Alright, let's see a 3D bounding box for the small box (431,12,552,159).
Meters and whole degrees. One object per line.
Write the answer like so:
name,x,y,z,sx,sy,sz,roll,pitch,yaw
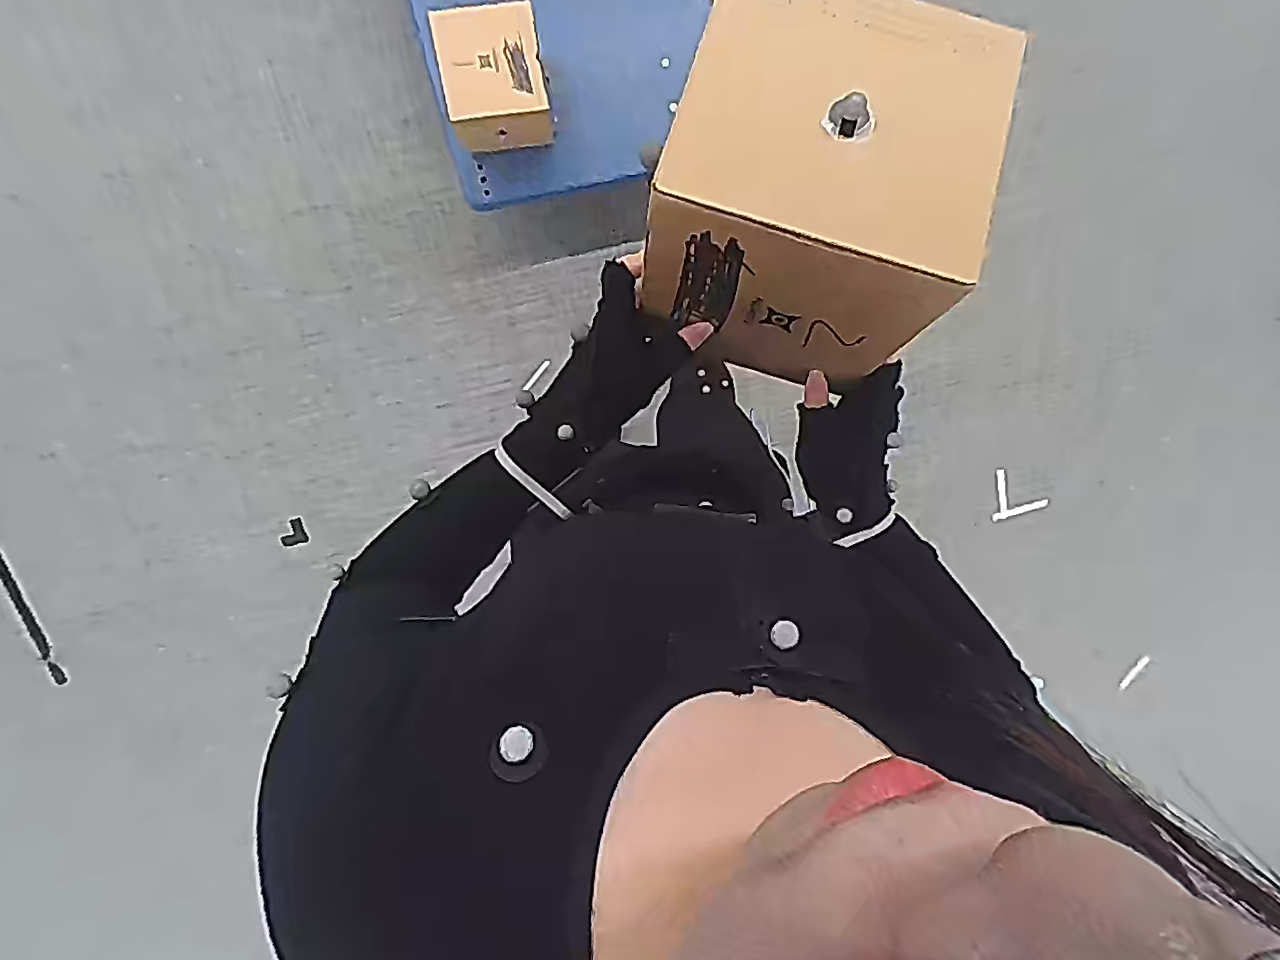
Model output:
small box,-0.263,-0.723,1.007,0.179,0.176,0.168,-9,104,-3
